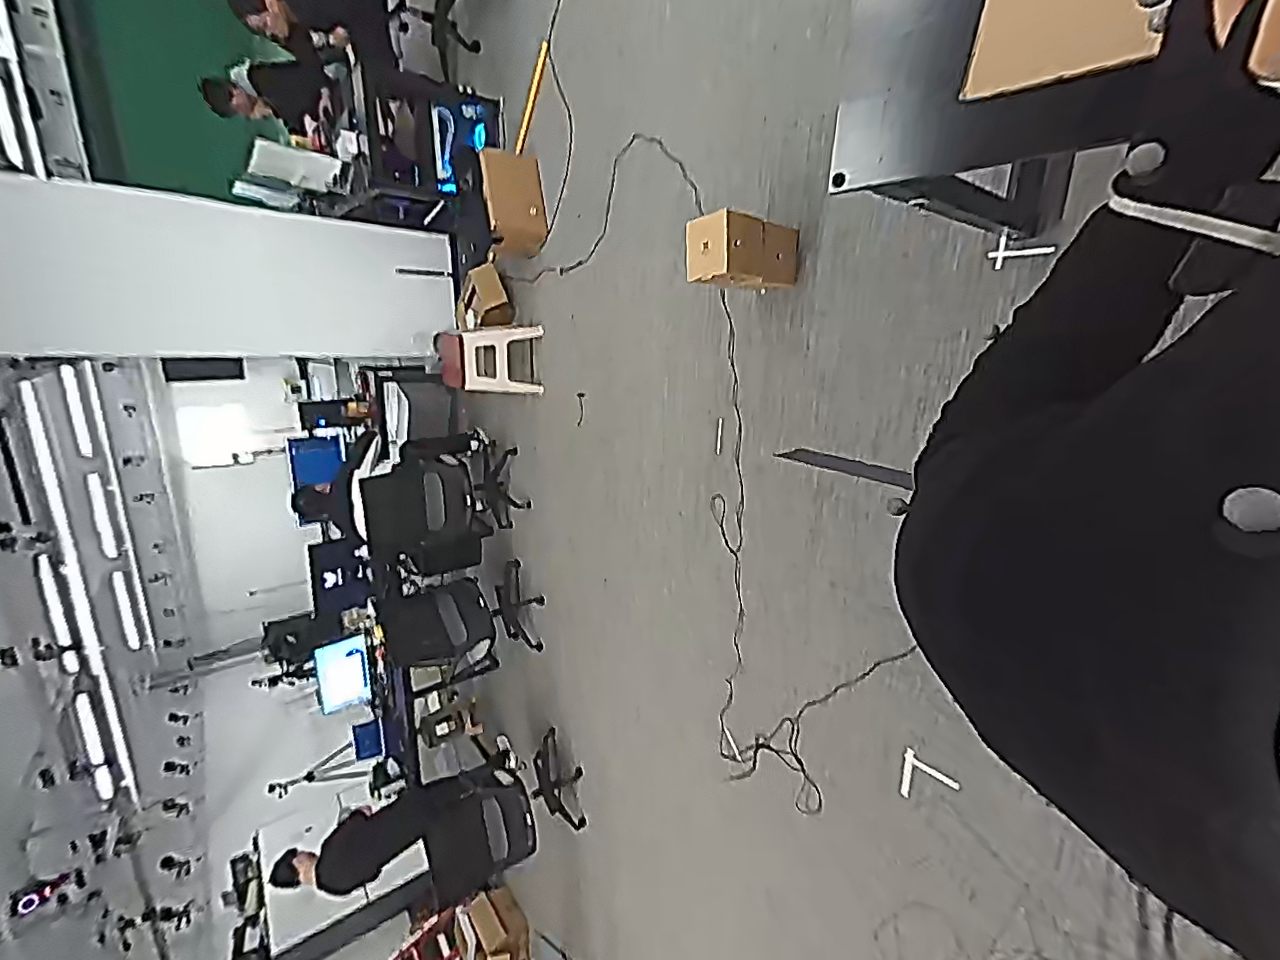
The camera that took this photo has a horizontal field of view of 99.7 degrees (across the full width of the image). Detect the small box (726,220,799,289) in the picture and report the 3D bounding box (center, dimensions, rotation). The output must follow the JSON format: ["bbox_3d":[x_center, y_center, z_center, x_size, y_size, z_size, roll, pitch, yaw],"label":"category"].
[{"bbox_3d":[0.395,-0.718,1.739,0.168,0.176,0.179,16,111,50],"label":"small box"}]

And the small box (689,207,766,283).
[{"bbox_3d":[0.266,-0.703,1.641,0.168,0.176,0.179,10,105,50],"label":"small box"}]
